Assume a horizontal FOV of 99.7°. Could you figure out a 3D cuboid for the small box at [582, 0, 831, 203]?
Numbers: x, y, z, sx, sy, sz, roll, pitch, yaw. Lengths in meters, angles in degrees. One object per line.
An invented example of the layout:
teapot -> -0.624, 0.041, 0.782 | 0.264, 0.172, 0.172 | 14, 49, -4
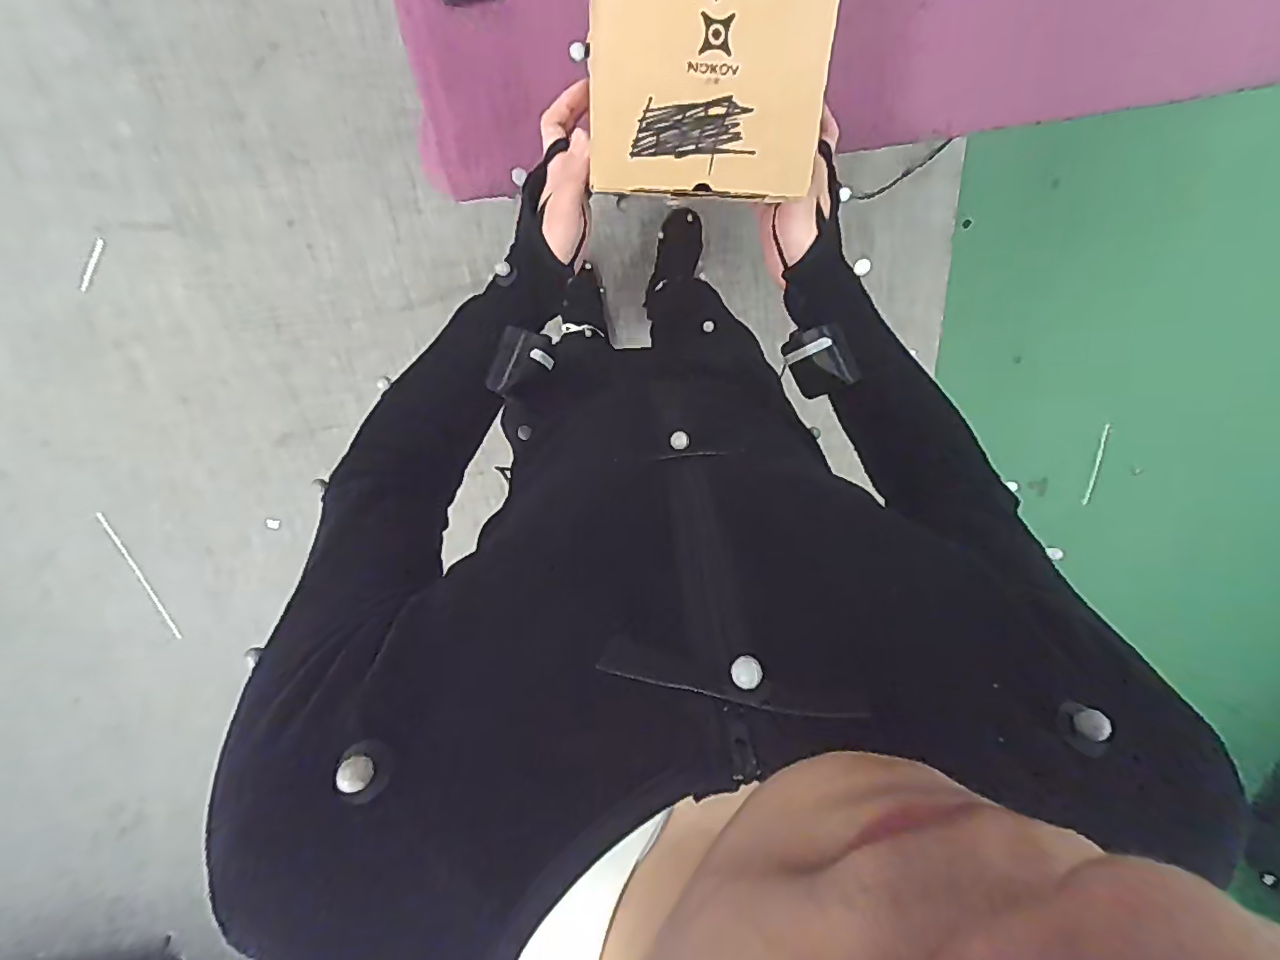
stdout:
small box -> 0.038, -0.325, 0.437 | 0.168, 0.176, 0.179 | 0, 116, -5
